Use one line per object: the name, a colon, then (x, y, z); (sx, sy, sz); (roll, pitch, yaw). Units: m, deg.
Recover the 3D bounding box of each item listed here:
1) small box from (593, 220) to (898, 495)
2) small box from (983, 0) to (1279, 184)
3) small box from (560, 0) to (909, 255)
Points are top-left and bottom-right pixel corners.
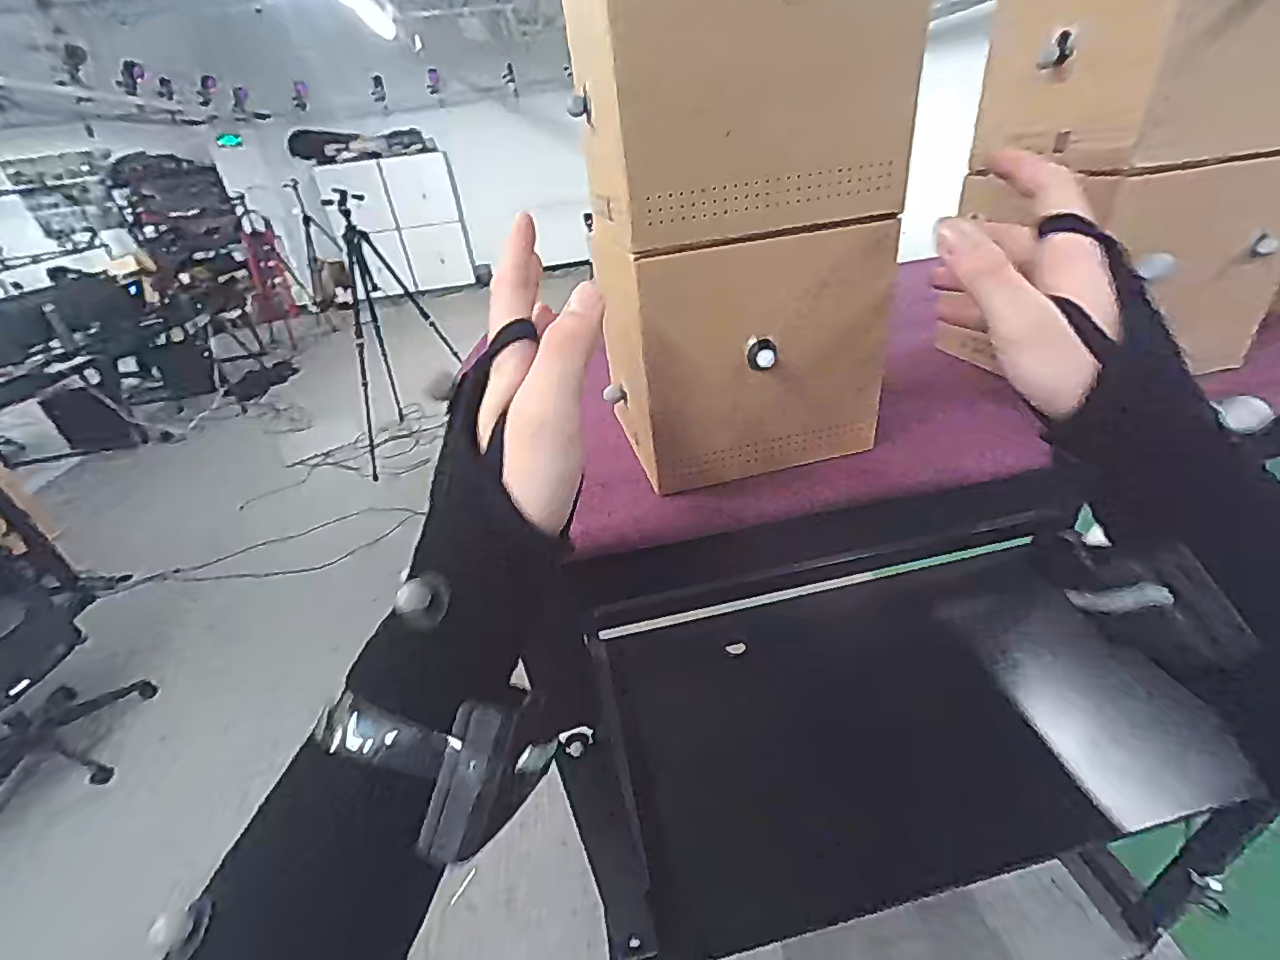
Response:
small box: (0.069, -0.109, 0.432); (0.179, 0.176, 0.168); (-13, 31, -8)
small box: (0.392, -0.327, 0.404); (0.179, 0.176, 0.168); (-10, 31, -4)
small box: (0.052, -0.251, 0.349); (0.179, 0.176, 0.168); (-11, 31, -7)
